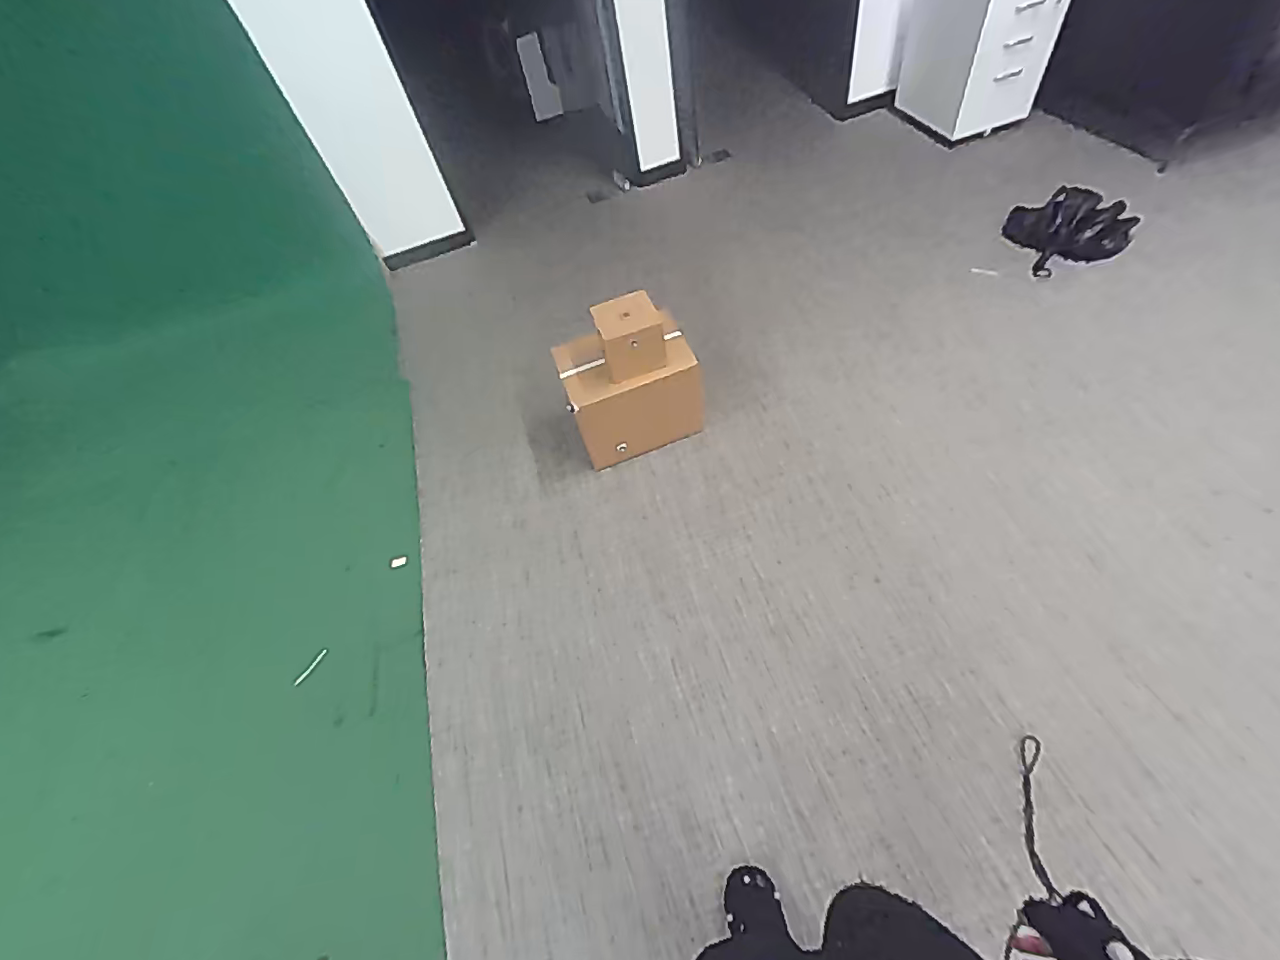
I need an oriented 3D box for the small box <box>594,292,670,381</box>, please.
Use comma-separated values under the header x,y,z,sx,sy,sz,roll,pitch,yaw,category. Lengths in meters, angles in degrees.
x,y,z,sx,sy,sz,roll,pitch,yaw,category
-0.020,-0.422,1.609,0.179,0.176,0.168,-19,55,-4,small box
